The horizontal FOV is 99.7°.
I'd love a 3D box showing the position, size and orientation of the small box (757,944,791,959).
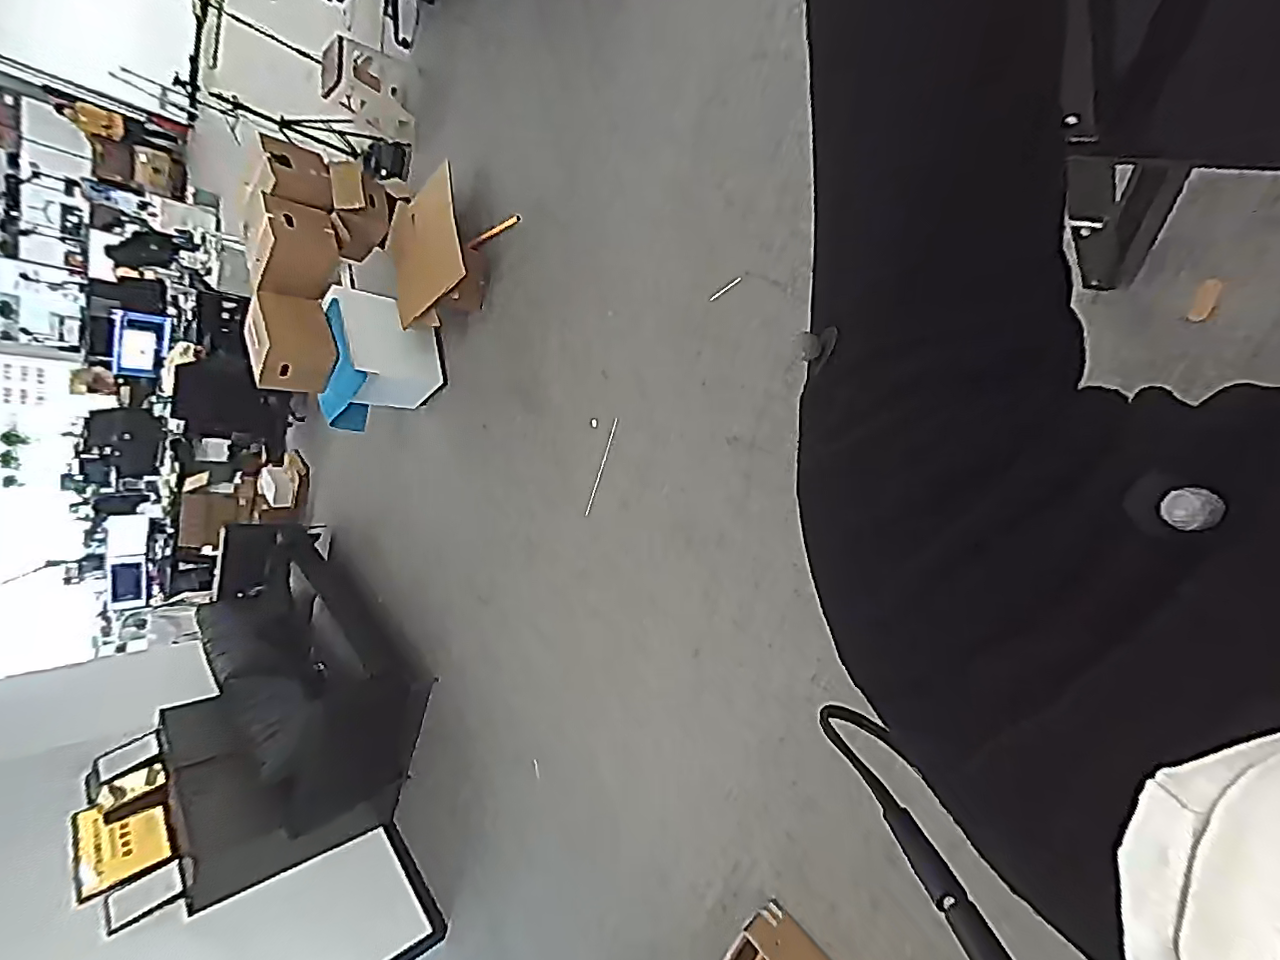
[{"bbox_3d":[0.417,1.629,1.708,0.179,0.176,0.168,38,114,35],"label":"small box"}]
